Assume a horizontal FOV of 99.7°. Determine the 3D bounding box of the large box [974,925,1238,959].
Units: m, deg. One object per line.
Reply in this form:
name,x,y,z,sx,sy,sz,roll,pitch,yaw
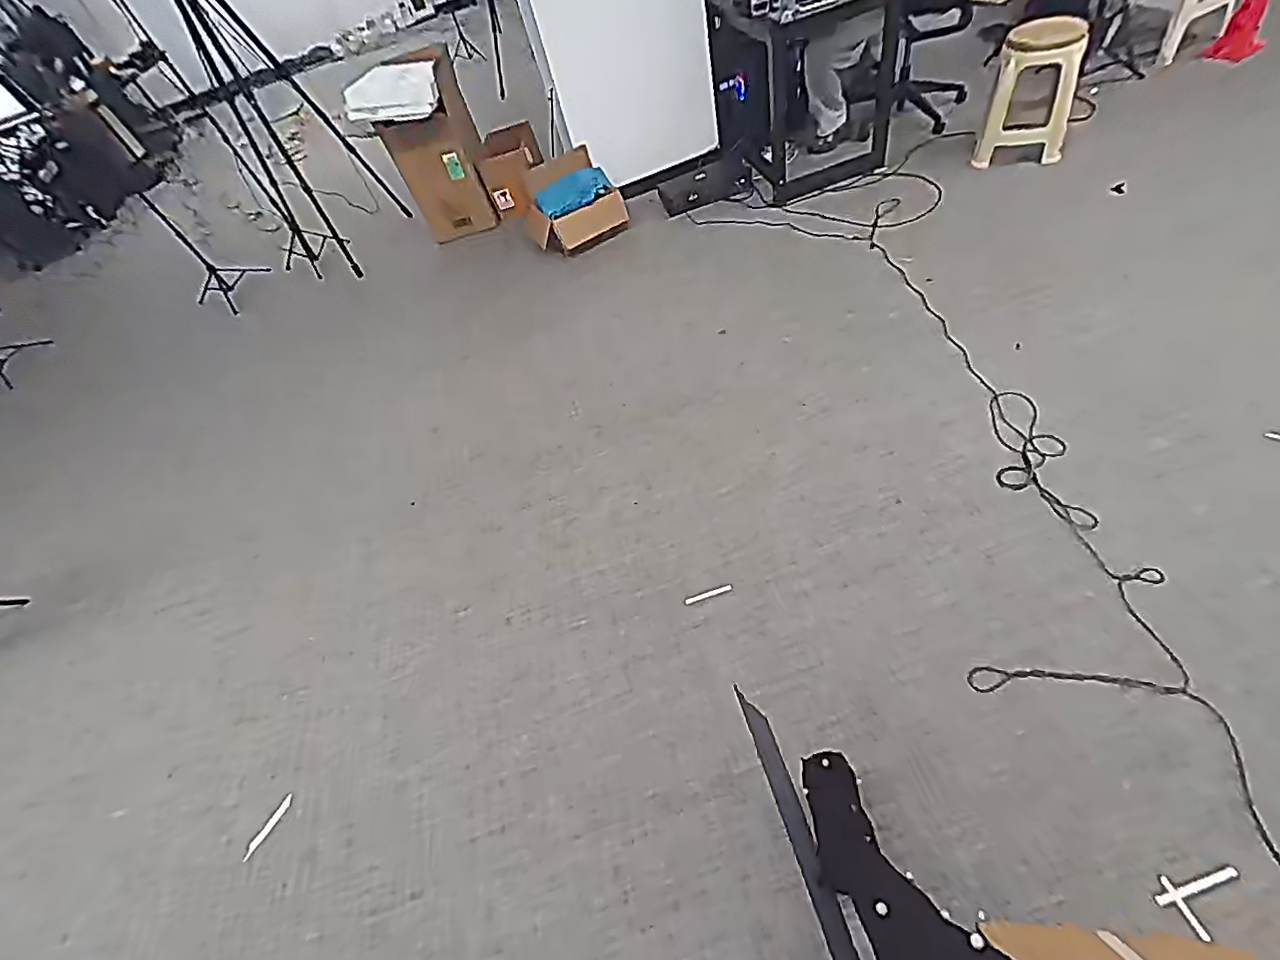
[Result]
large box,0.599,0.727,0.530,0.320,0.408,0.320,-2,73,11
